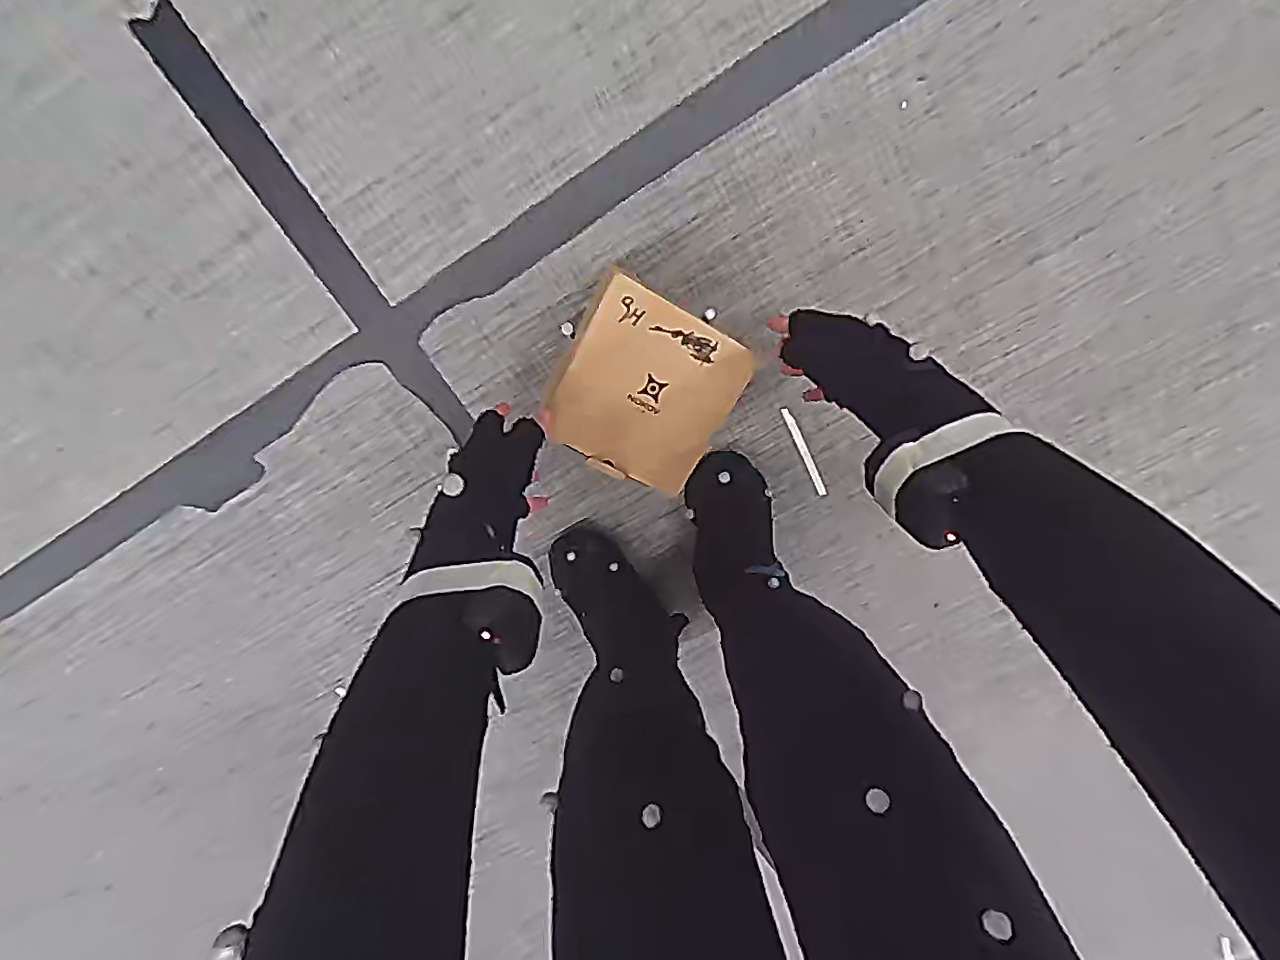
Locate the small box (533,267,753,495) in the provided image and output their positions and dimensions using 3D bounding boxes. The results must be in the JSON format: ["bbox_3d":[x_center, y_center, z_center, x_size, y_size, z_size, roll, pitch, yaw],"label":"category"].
[{"bbox_3d":[-0.003,-0.117,0.605,0.168,0.176,0.179,24,109,-14],"label":"small box"}]
